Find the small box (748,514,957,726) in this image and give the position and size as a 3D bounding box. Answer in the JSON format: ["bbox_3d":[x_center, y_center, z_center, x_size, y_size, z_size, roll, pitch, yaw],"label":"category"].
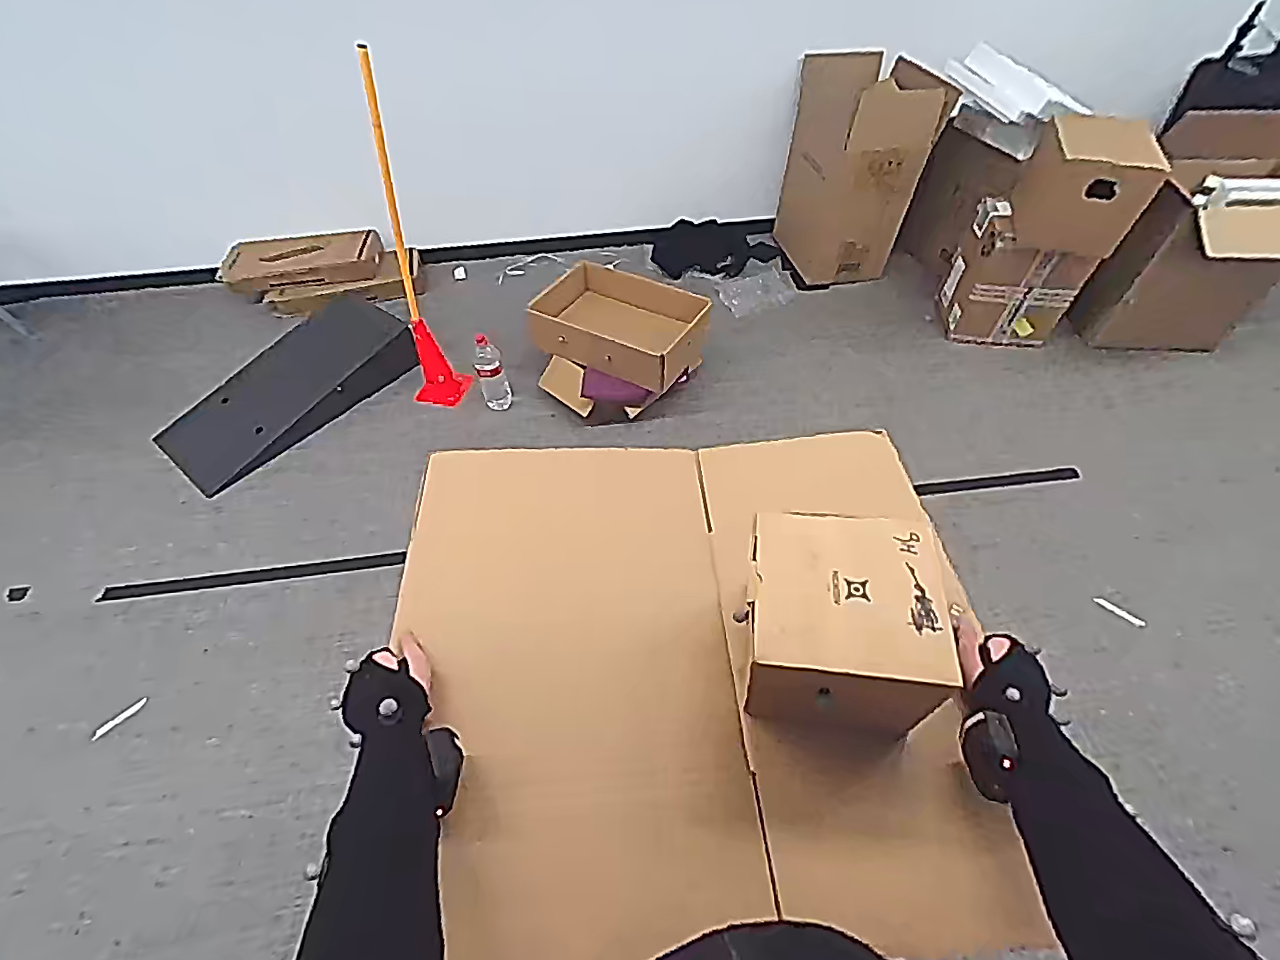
[{"bbox_3d":[0.209,0.153,0.585,0.179,0.176,0.168,2,53,11],"label":"small box"}]
